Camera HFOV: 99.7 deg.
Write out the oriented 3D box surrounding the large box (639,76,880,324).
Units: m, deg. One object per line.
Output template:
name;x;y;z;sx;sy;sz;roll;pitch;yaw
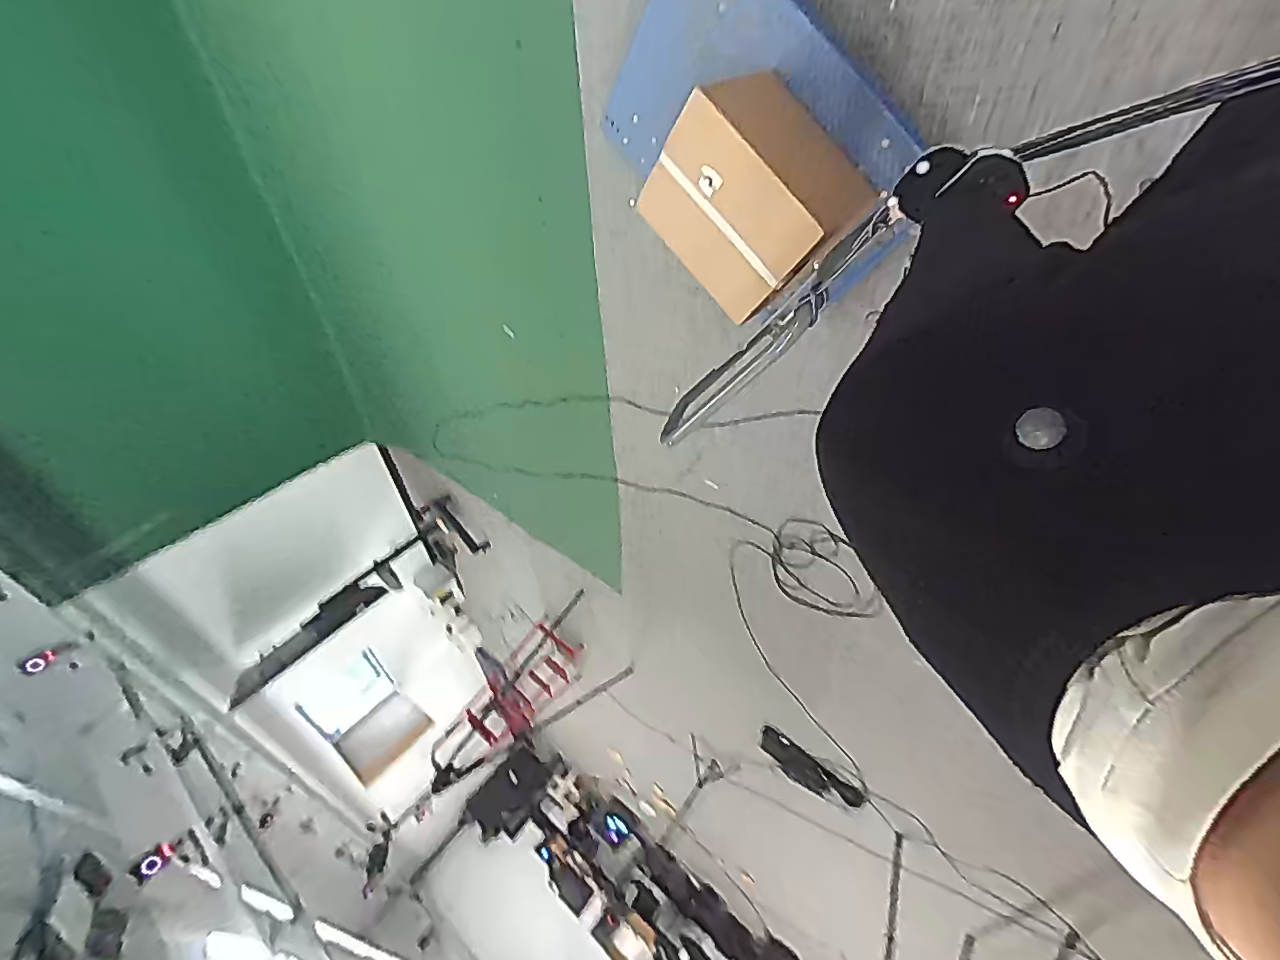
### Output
large box;0.281;-0.666;1.302;0.408;0.320;0.320;50;145;1
